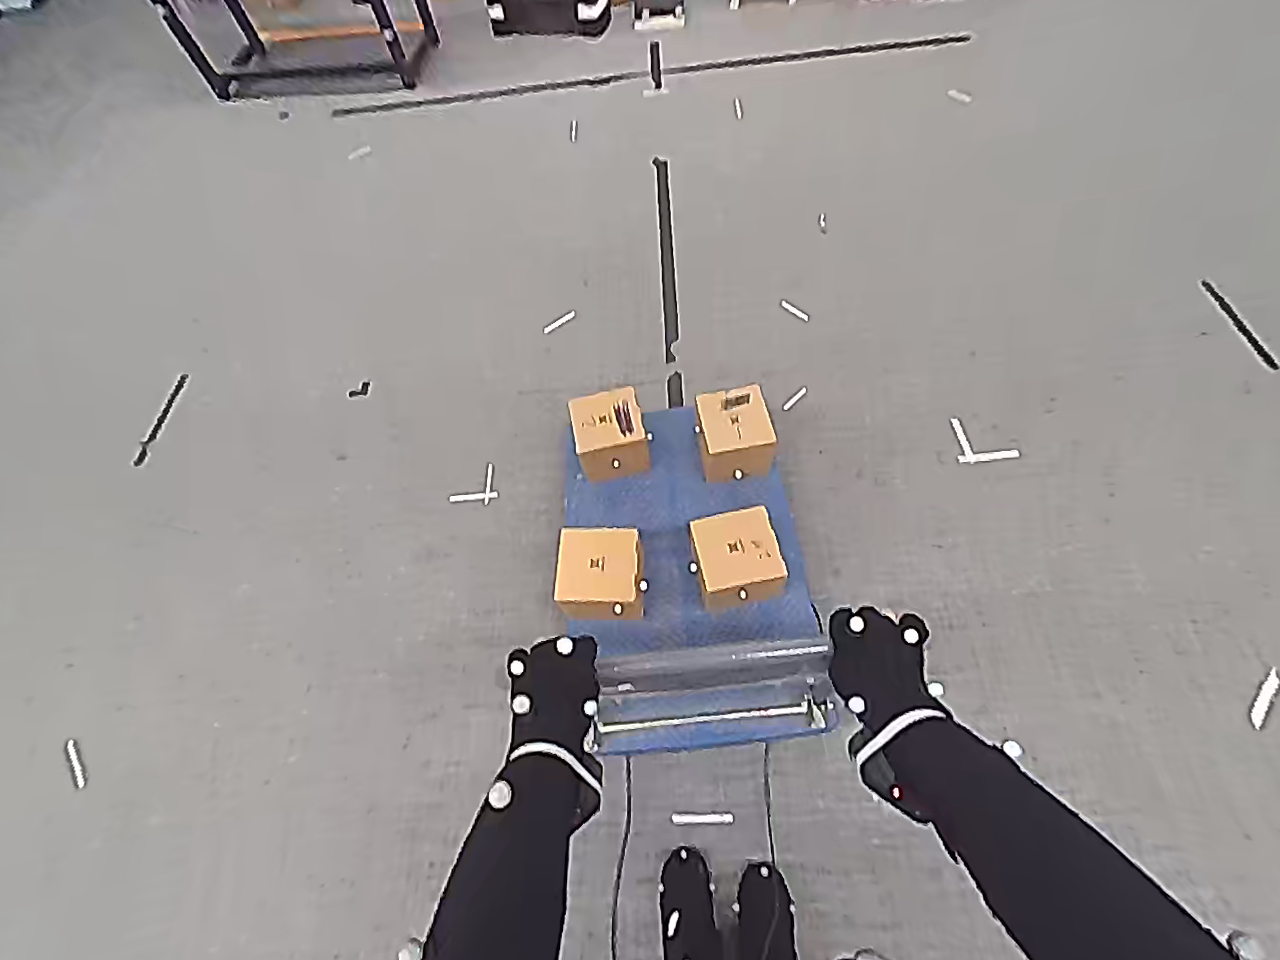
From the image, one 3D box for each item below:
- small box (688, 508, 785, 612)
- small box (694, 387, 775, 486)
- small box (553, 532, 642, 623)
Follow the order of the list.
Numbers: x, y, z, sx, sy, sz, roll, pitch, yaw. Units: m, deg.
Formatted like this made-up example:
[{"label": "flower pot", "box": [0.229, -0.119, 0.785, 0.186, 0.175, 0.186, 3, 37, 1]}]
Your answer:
[{"label": "small box", "box": [0.213, 0.188, 1.226, 0.179, 0.176, 0.168, -12, 61, -1]}, {"label": "small box", "box": [0.233, -0.108, 1.387, 0.168, 0.176, 0.179, -11, 62, 0]}, {"label": "small box", "box": [-0.090, 0.227, 1.238, 0.179, 0.176, 0.168, -1, 61, 4]}]
